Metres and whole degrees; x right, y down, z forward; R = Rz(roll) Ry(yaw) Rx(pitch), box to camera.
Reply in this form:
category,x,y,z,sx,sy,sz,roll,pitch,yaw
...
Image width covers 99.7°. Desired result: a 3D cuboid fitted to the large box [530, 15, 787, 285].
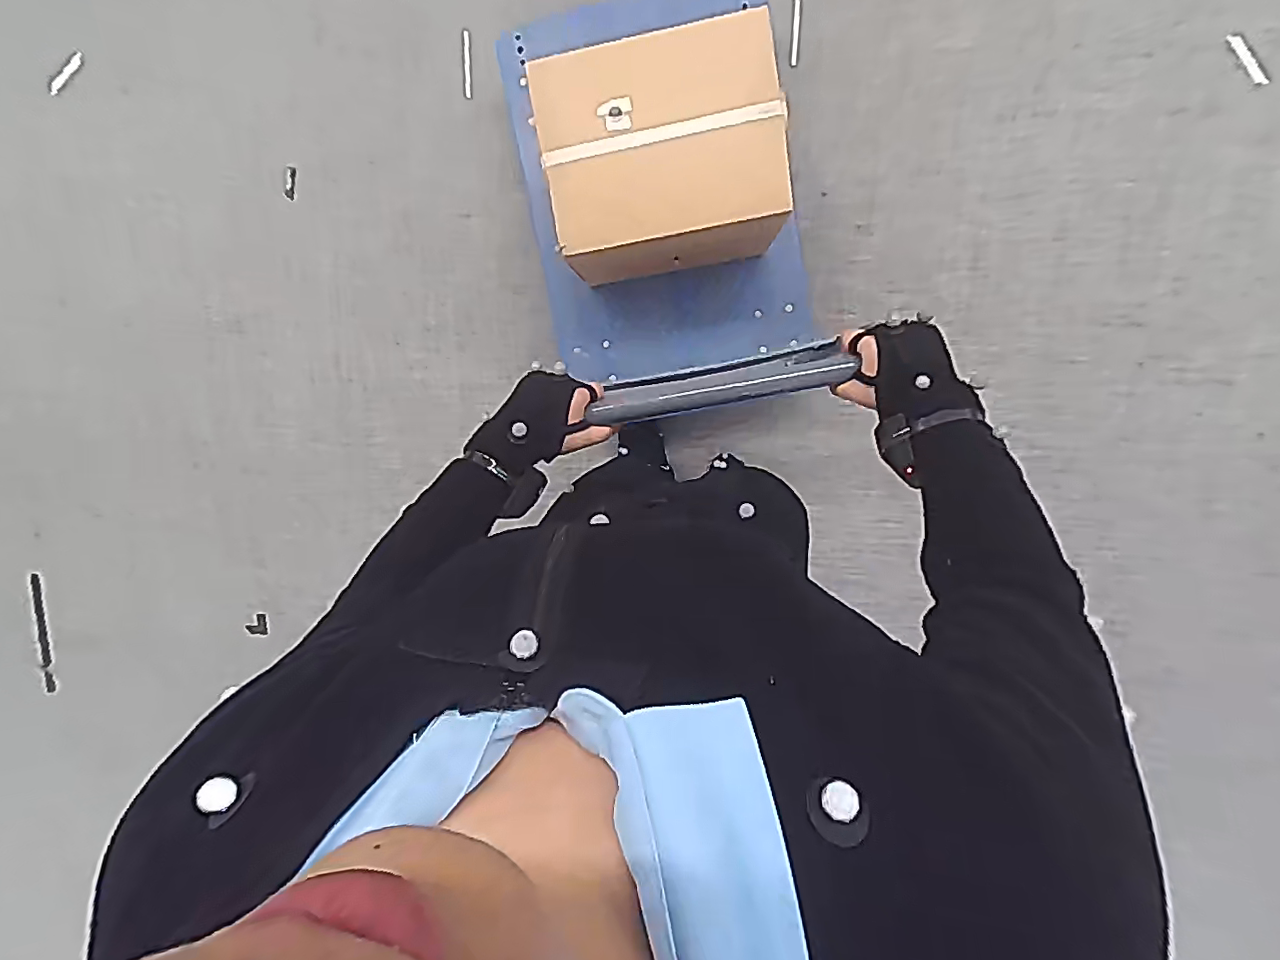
category,x,y,z,sx,sy,sz,roll,pitch,yaw
large box,0.045,-0.603,1.069,0.408,0.320,0.320,-9,98,6
